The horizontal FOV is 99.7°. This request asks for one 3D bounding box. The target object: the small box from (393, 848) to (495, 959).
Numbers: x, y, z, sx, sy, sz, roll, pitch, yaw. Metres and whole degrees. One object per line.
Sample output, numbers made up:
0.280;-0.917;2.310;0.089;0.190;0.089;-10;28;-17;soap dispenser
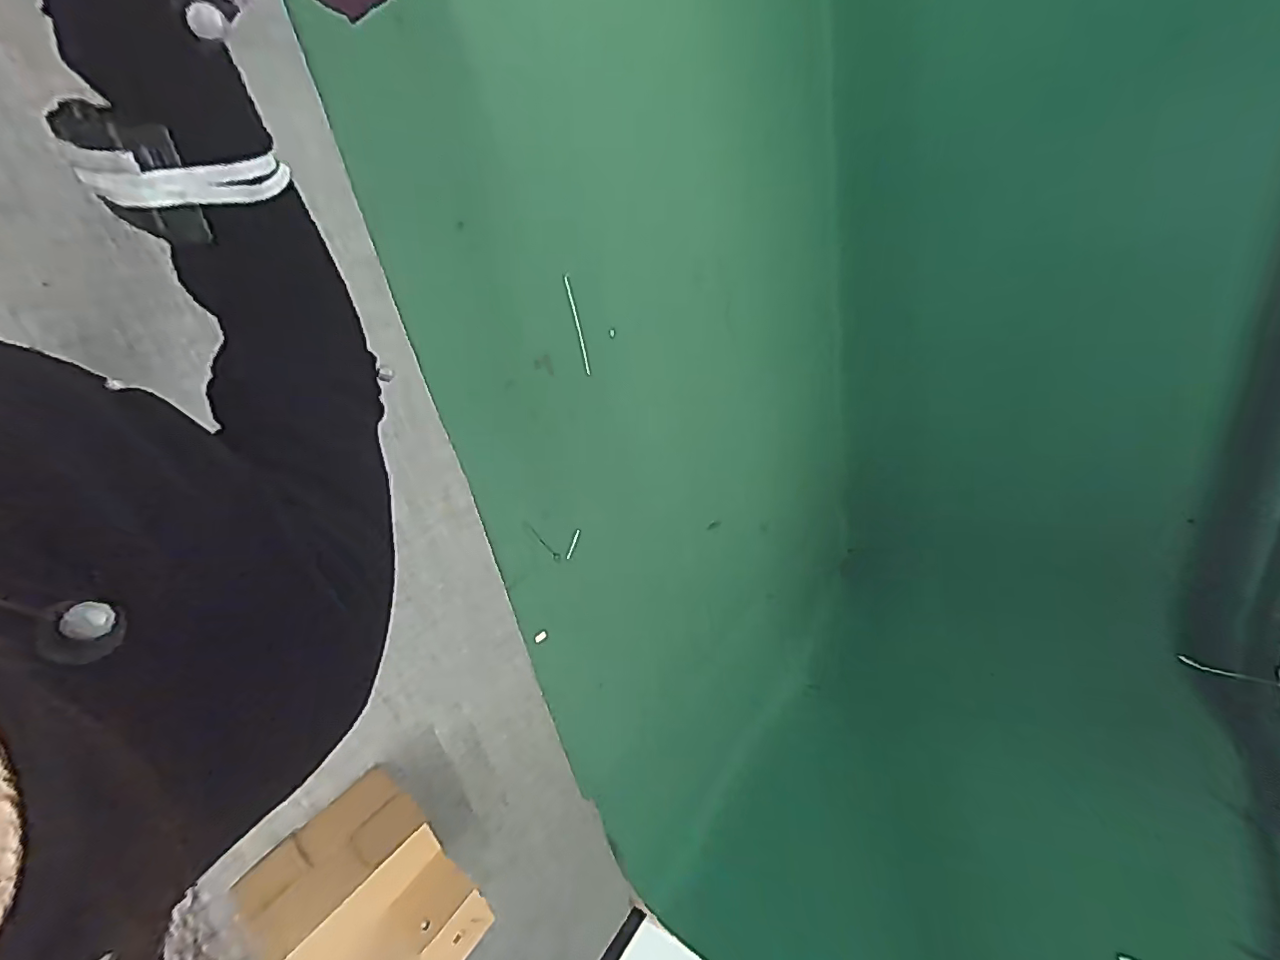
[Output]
-0.522;1.135;1.428;0.179;0.176;0.168;-38;127;-40;small box
